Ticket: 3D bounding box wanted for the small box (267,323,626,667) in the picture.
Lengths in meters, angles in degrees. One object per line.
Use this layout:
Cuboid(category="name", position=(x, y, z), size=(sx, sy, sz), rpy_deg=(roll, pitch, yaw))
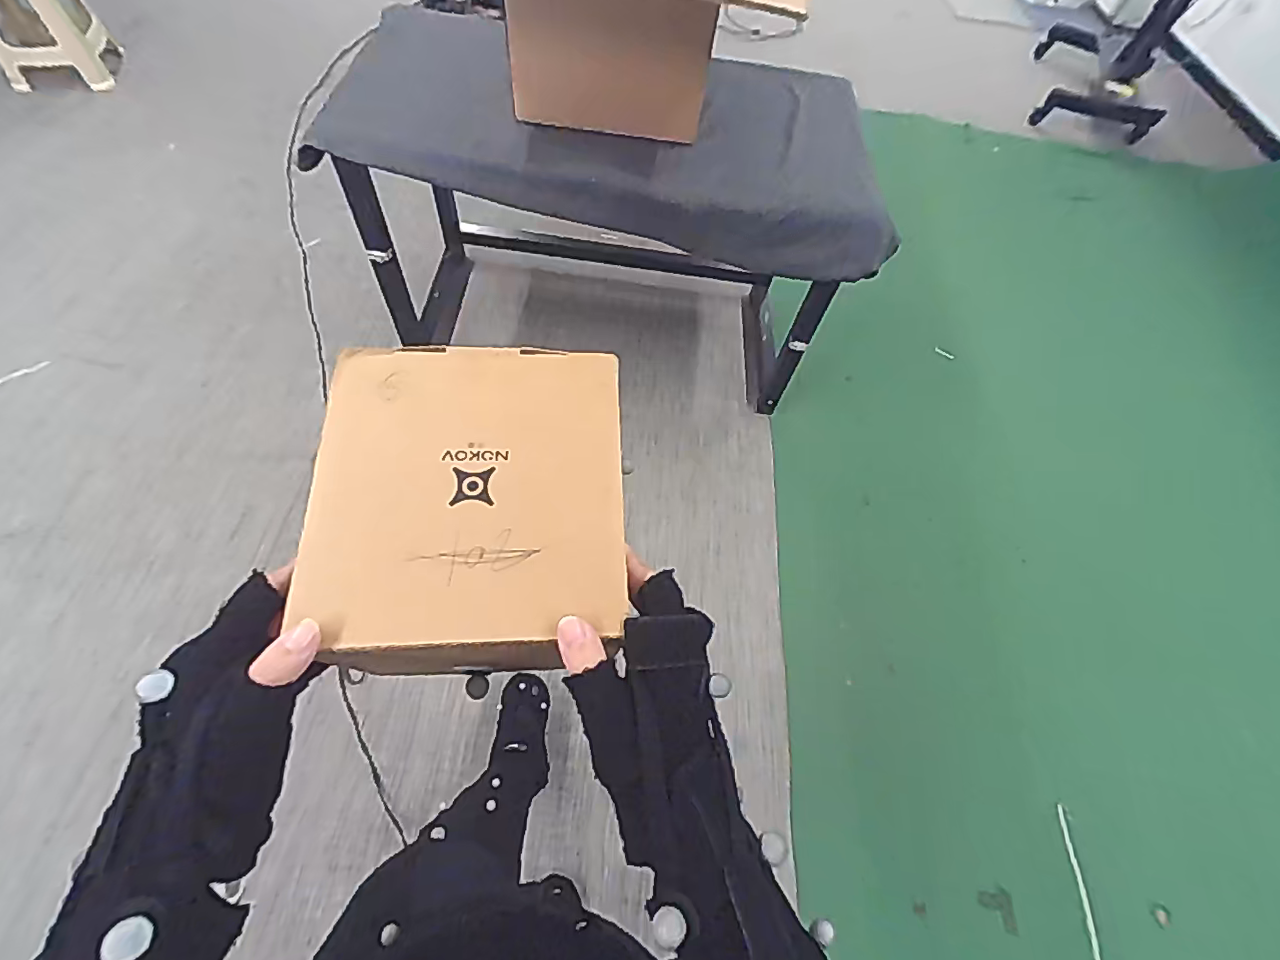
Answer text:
Cuboid(category="small box", position=(-0.101, 0.022, 0.359), size=(0.168, 0.176, 0.179), rpy_deg=(-1, 67, -7))
